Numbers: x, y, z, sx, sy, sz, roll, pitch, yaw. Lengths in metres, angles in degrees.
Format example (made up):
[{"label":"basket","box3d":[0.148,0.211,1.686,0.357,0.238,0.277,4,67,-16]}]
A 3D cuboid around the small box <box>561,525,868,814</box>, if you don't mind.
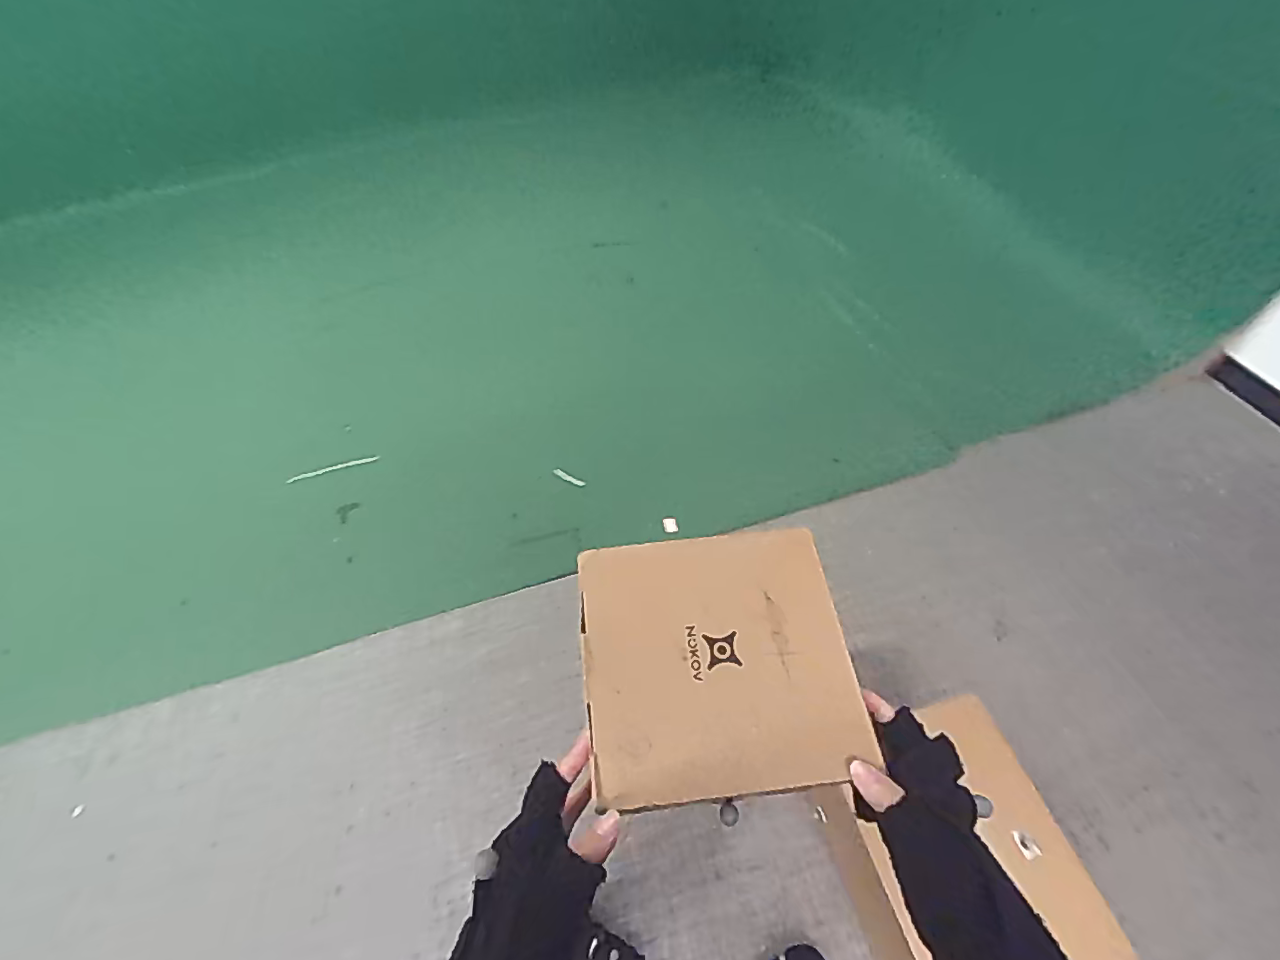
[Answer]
[{"label":"small box","box3d":[0.041,0.156,0.426,0.179,0.176,0.168,-8,60,-5]}]
